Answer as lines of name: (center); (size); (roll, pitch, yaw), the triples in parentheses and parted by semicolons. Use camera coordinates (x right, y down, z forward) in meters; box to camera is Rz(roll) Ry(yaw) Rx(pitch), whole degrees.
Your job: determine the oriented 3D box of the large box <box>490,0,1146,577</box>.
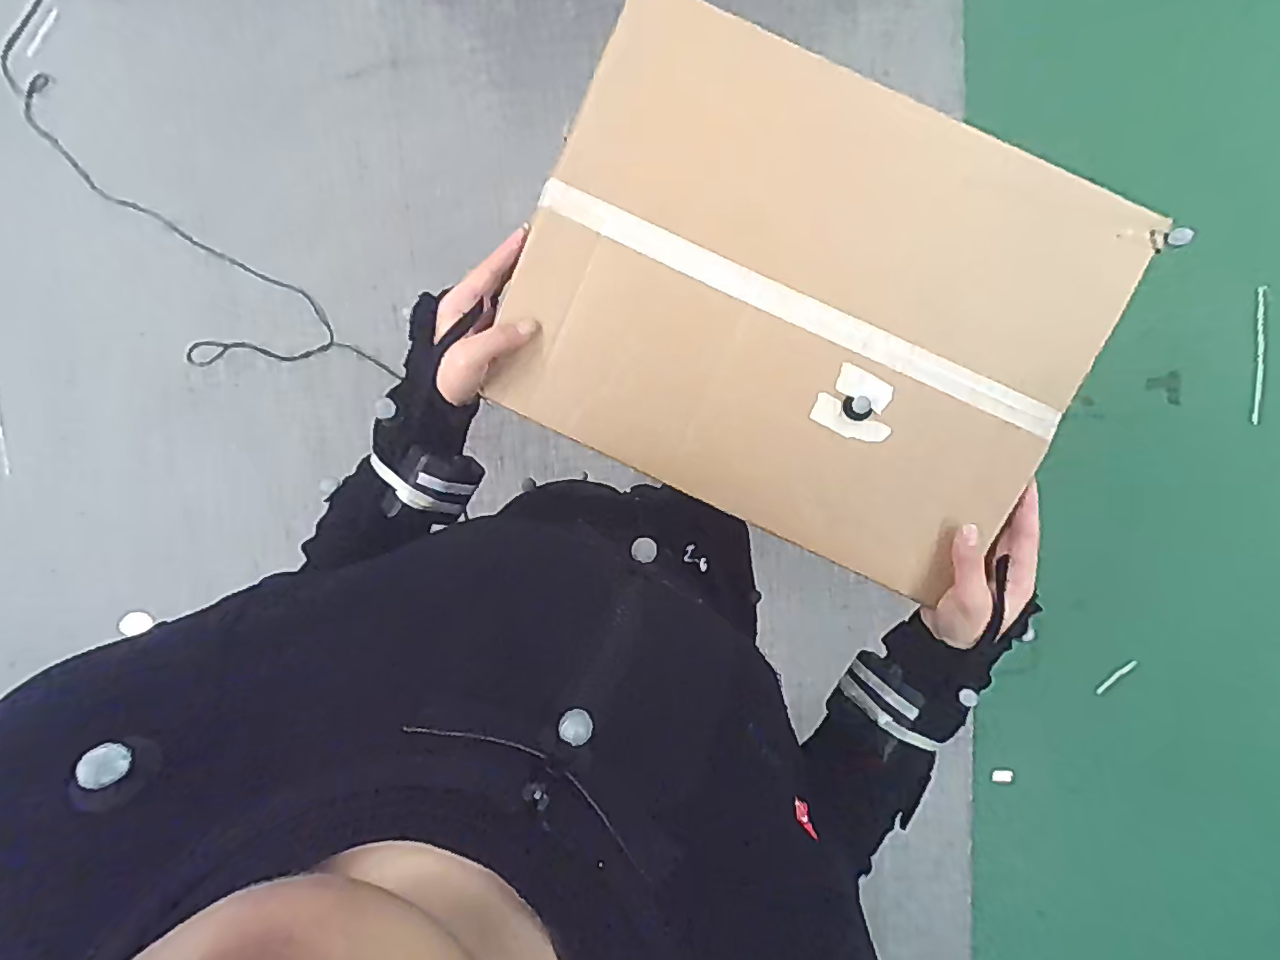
large box: (0.126, -0.155, 0.548); (0.408, 0.320, 0.320); (24, 98, -1)
